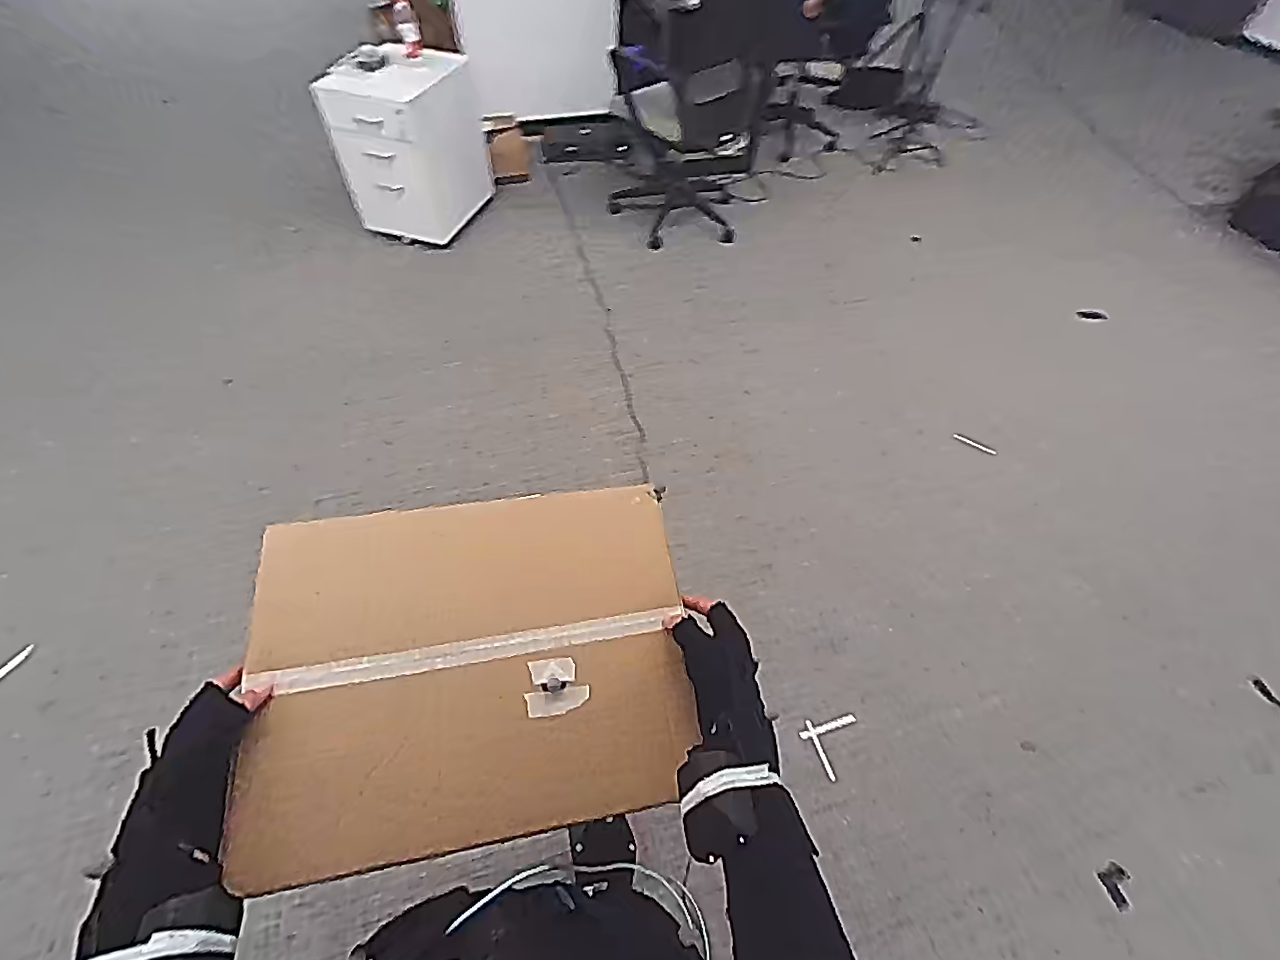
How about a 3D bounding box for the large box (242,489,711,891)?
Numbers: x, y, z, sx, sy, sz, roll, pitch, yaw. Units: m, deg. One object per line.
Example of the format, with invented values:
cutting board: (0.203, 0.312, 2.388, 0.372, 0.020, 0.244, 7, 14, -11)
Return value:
large box: (-0.173, 0.238, 0.660, 0.408, 0.320, 0.320, -7, 64, -11)
